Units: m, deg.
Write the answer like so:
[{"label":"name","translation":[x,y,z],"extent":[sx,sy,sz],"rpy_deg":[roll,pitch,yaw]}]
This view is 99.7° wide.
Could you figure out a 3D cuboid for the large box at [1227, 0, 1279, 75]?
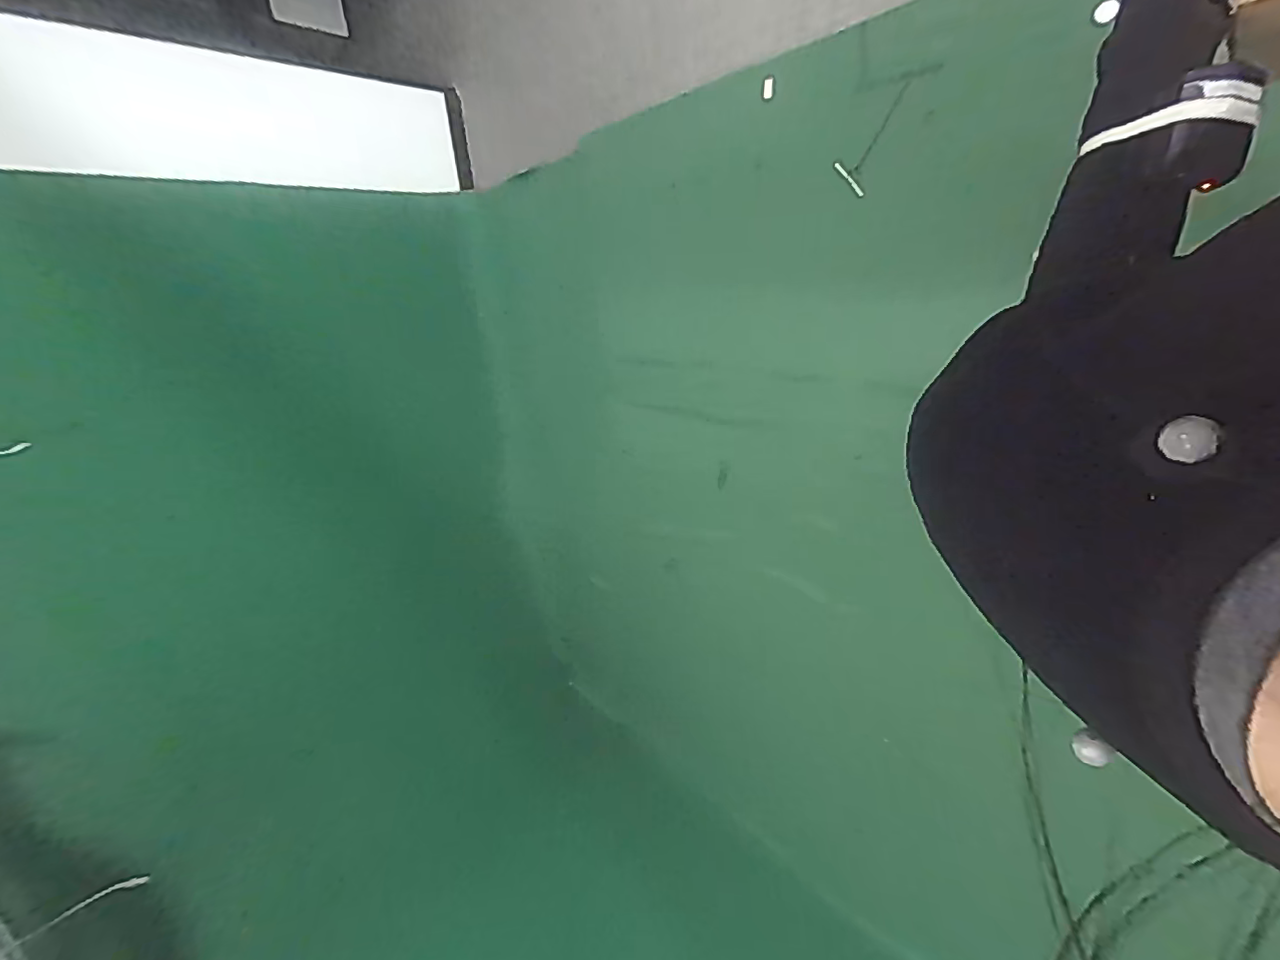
[{"label":"large box","translation":[0.604,-0.459,0.252],"extent":[0.408,0.320,0.320],"rpy_deg":[14,117,45]}]
